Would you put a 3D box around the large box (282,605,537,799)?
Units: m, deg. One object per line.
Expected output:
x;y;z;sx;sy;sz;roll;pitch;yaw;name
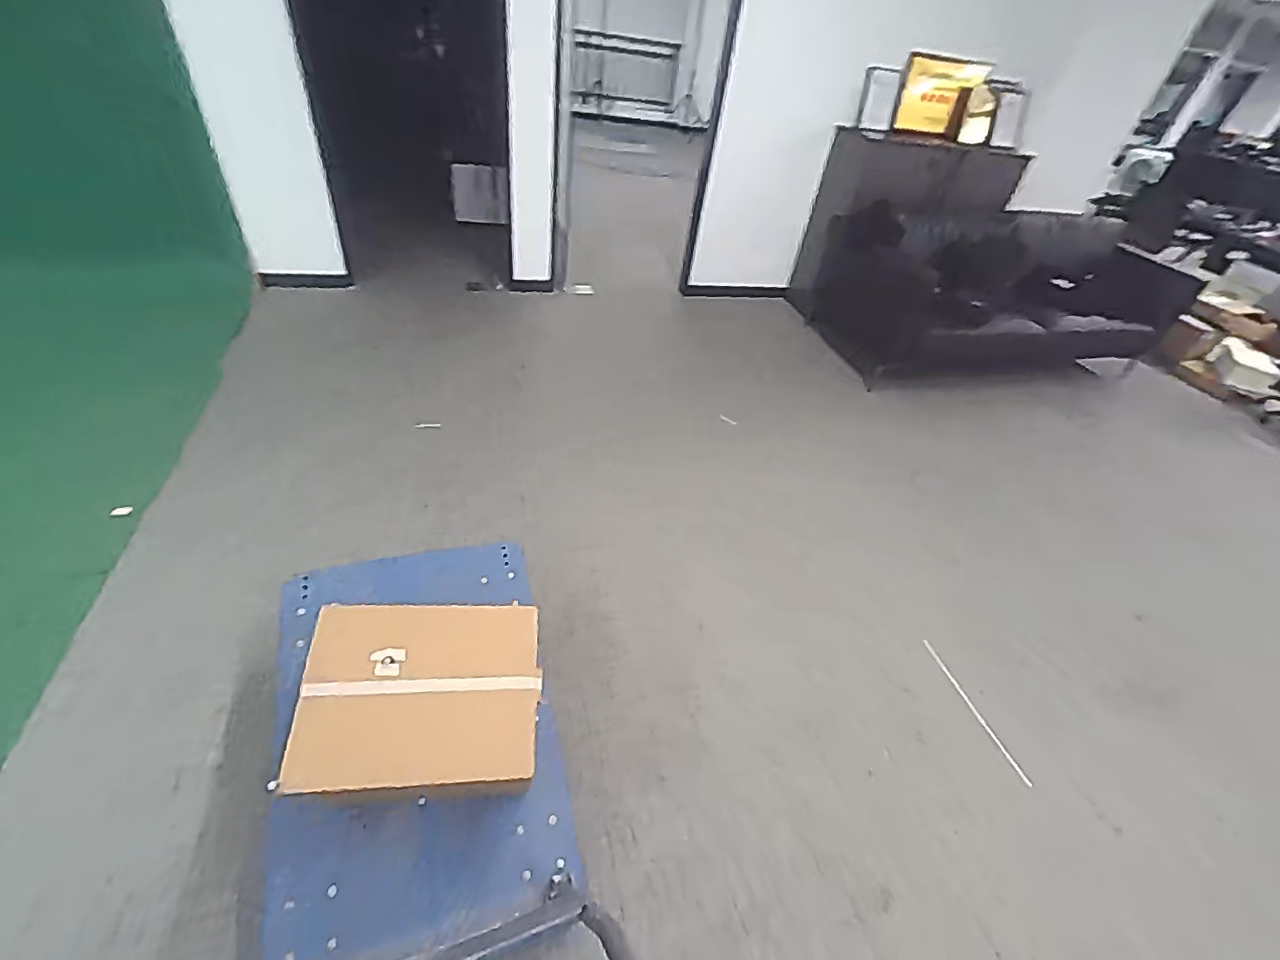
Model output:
-0.419;0.457;1.105;0.408;0.320;0.320;3;56;-12;large box
